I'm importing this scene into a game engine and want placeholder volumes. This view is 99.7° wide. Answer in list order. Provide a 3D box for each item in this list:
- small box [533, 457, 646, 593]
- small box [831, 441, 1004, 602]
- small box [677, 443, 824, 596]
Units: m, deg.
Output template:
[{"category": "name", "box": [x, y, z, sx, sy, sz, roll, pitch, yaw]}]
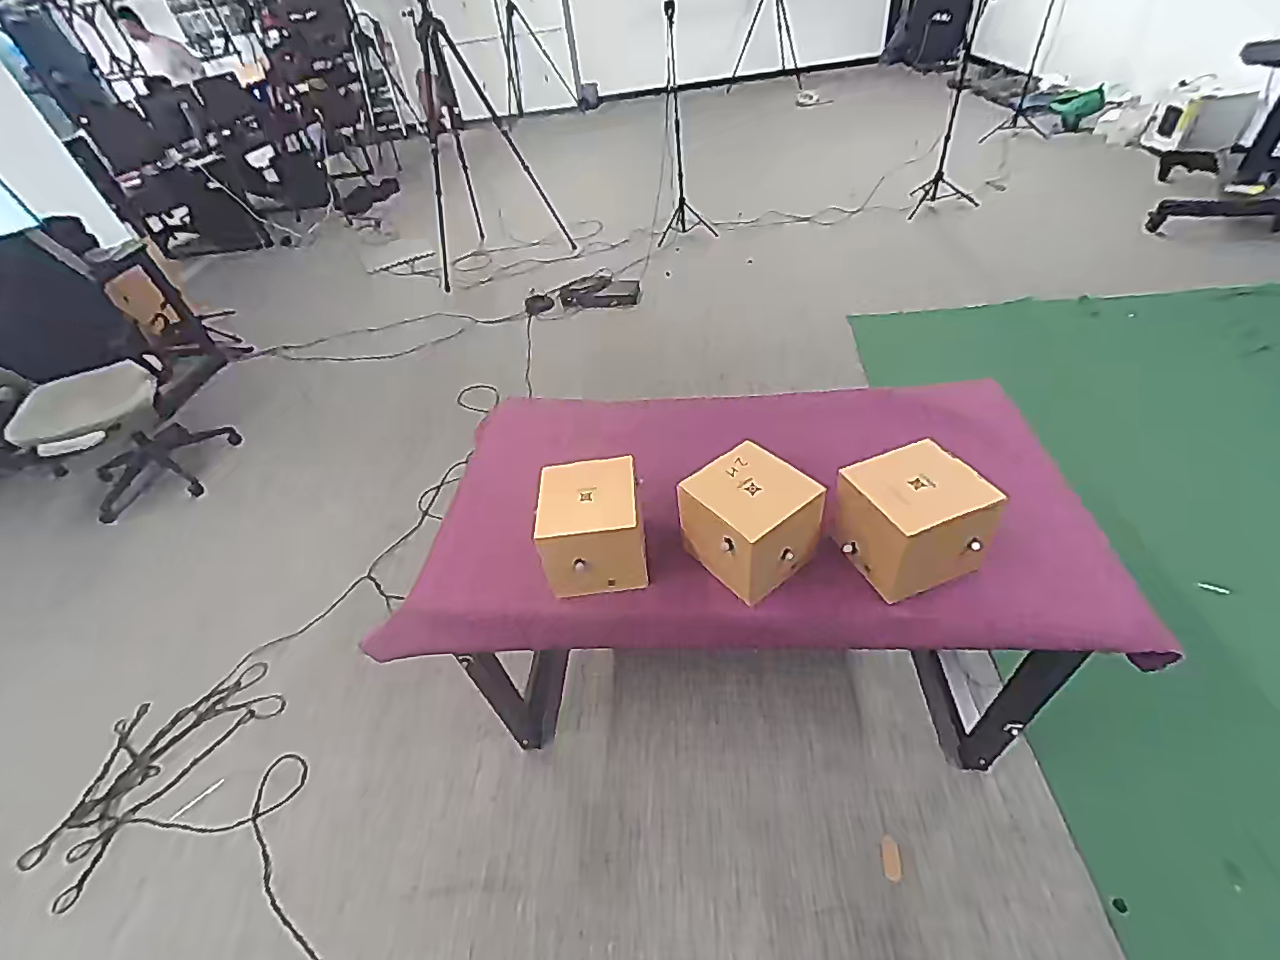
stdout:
[{"category": "small box", "box": [-0.082, 0.085, 0.959, 0.168, 0.176, 0.179, -7, 42, 2]}, {"category": "small box", "box": [0.438, 0.068, 0.888, 0.179, 0.176, 0.168, -18, 42, -9]}, {"category": "small box", "box": [0.184, 0.072, 0.925, 0.168, 0.176, 0.179, -30, 47, -22]}]
